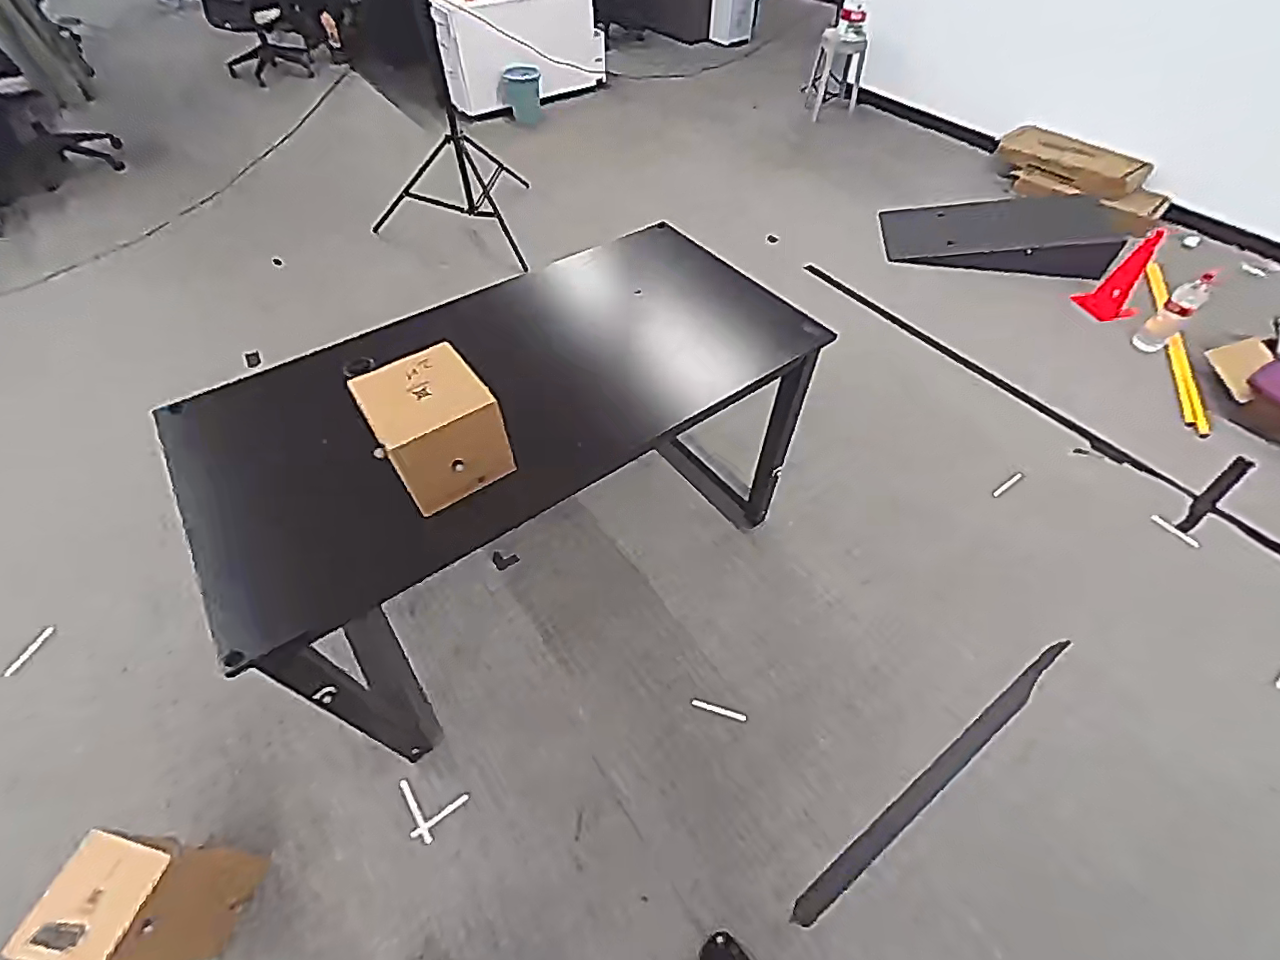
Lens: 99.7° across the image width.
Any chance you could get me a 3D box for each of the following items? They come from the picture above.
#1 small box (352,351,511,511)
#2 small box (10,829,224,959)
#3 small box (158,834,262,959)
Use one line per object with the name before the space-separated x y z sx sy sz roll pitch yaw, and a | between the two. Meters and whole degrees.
small box | -0.330 -0.073 0.884 0.168 0.176 0.179 -30 58 -22
small box | -0.900 0.748 0.955 0.168 0.176 0.179 12 53 8
small box | -0.913 0.845 1.089 0.168 0.176 0.179 10 52 8
